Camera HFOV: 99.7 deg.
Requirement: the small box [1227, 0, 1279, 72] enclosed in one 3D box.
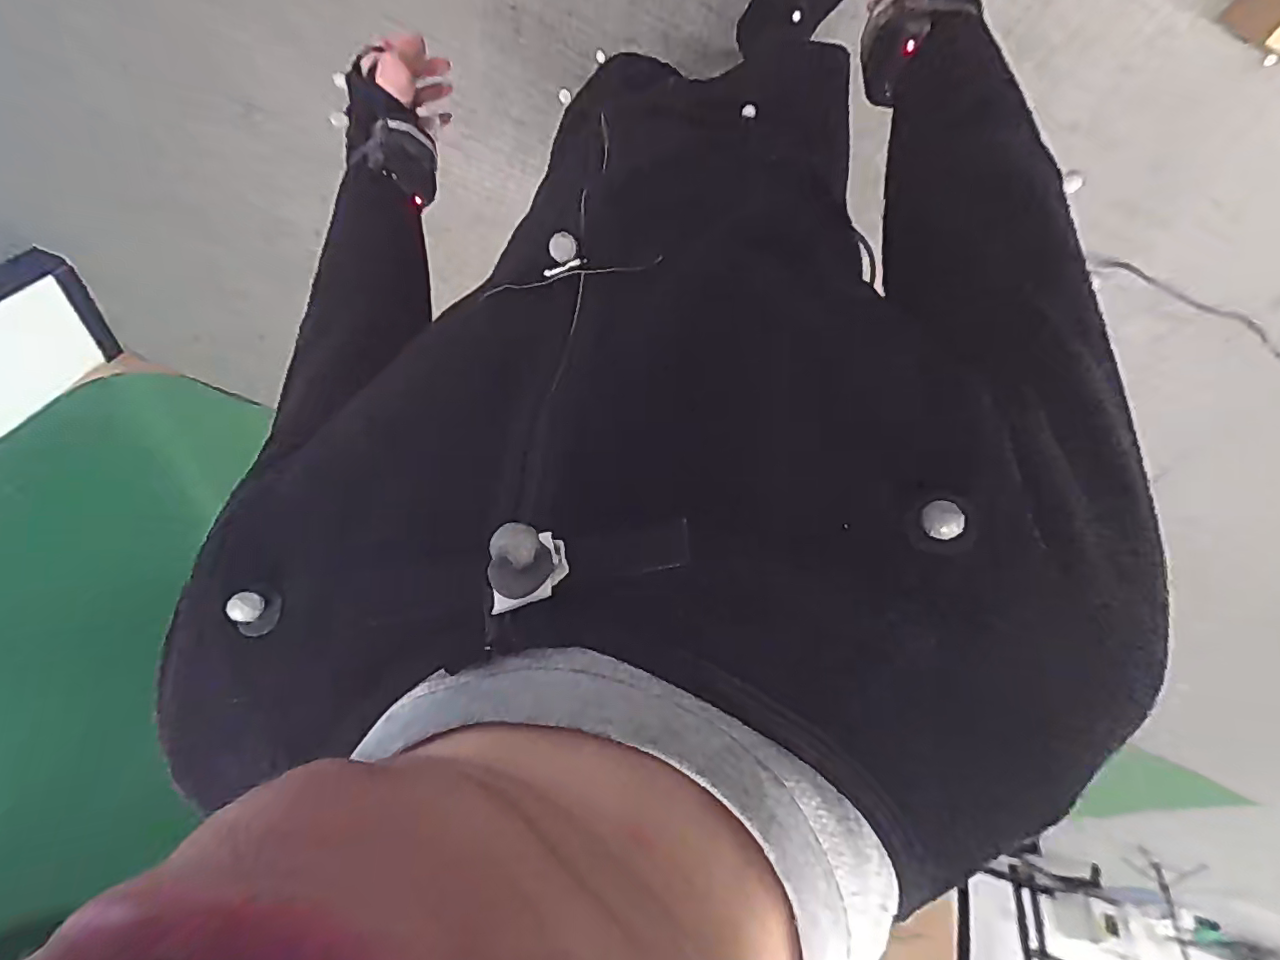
[{"bbox_3d":[1.069,-0.729,0.823,0.168,0.176,0.179,23,141,-5],"label":"small box"}]
